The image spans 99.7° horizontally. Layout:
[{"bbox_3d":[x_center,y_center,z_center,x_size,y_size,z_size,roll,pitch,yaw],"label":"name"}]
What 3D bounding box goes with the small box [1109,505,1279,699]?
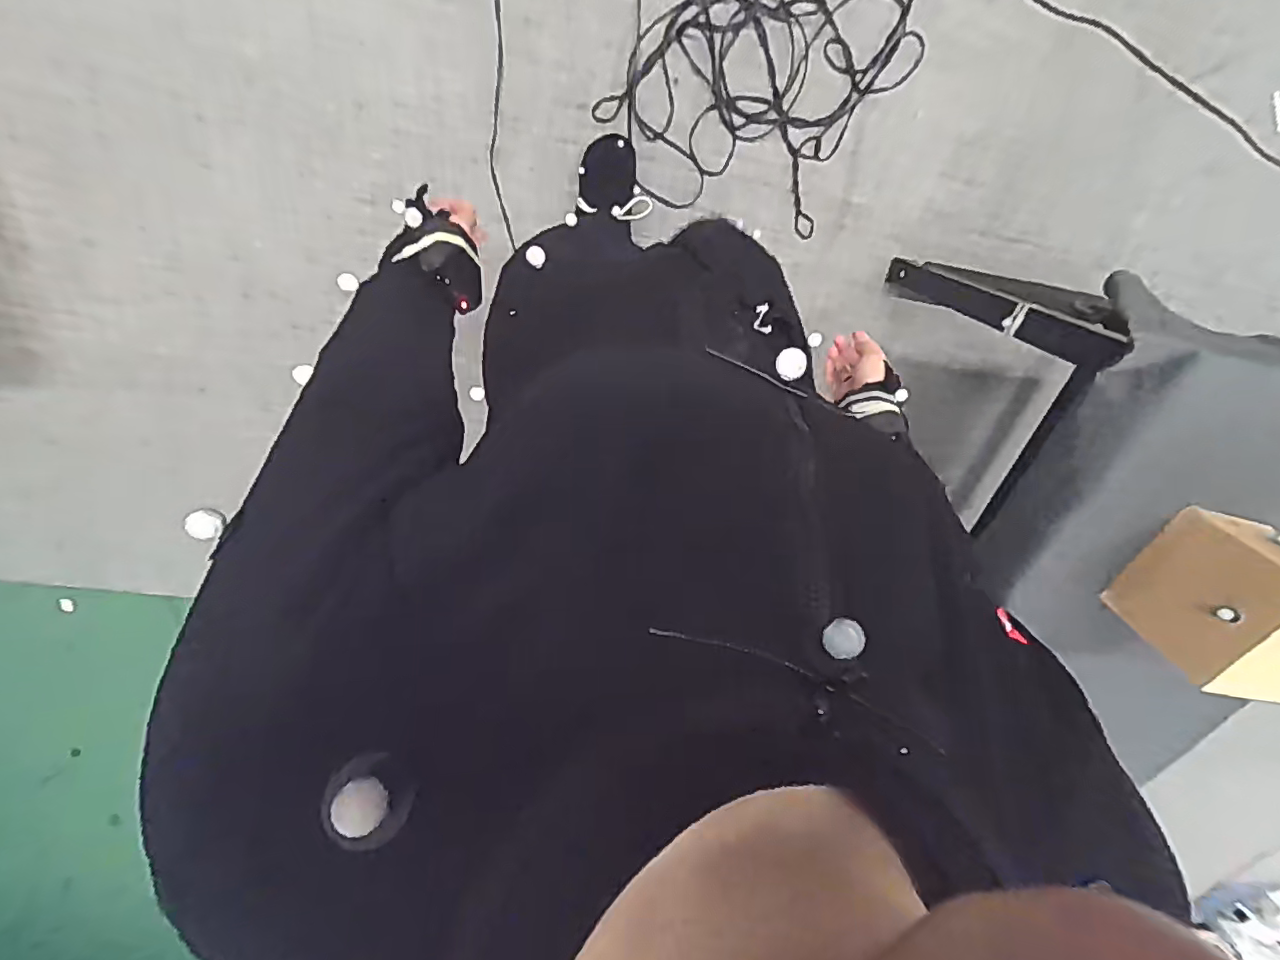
[{"bbox_3d":[0.796,0.161,0.726,0.168,0.176,0.179,12,119,-14],"label":"small box"}]
